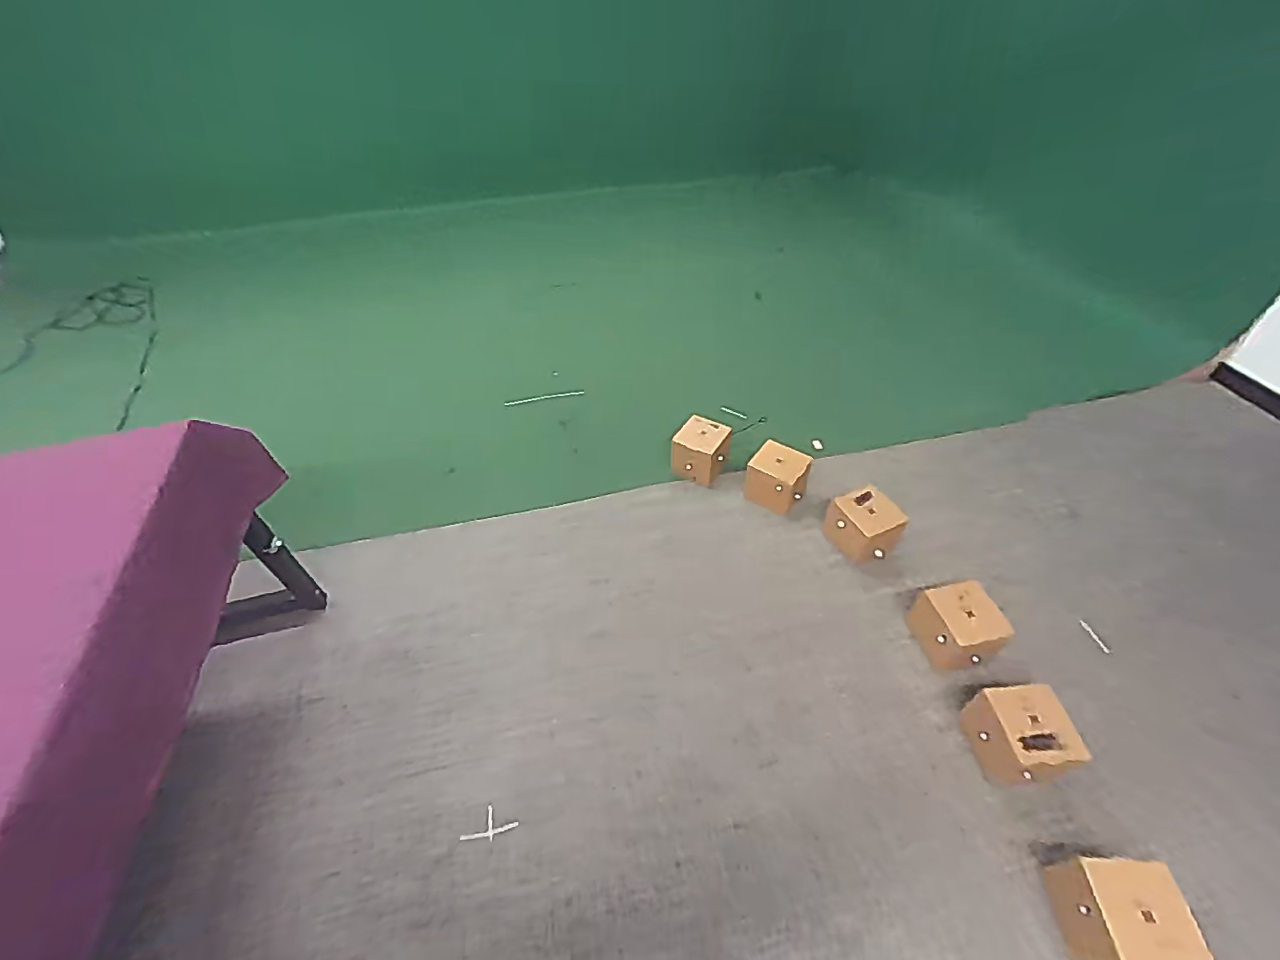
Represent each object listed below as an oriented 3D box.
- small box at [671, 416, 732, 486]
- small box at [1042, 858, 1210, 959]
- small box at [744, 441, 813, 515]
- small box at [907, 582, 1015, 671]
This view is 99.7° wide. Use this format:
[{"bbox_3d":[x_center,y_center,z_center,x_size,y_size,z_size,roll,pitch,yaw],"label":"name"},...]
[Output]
[{"bbox_3d":[0.233,-0.107,2.045,0.168,0.176,0.179,24,52,23],"label":"small box"},{"bbox_3d":[0.951,0.877,1.074,0.168,0.176,0.179,2,47,5],"label":"small box"},{"bbox_3d":[0.491,-0.003,1.937,0.179,0.176,0.168,28,53,26],"label":"small box"},{"bbox_3d":[0.886,0.416,1.513,0.168,0.176,0.179,-9,47,-7],"label":"small box"}]
